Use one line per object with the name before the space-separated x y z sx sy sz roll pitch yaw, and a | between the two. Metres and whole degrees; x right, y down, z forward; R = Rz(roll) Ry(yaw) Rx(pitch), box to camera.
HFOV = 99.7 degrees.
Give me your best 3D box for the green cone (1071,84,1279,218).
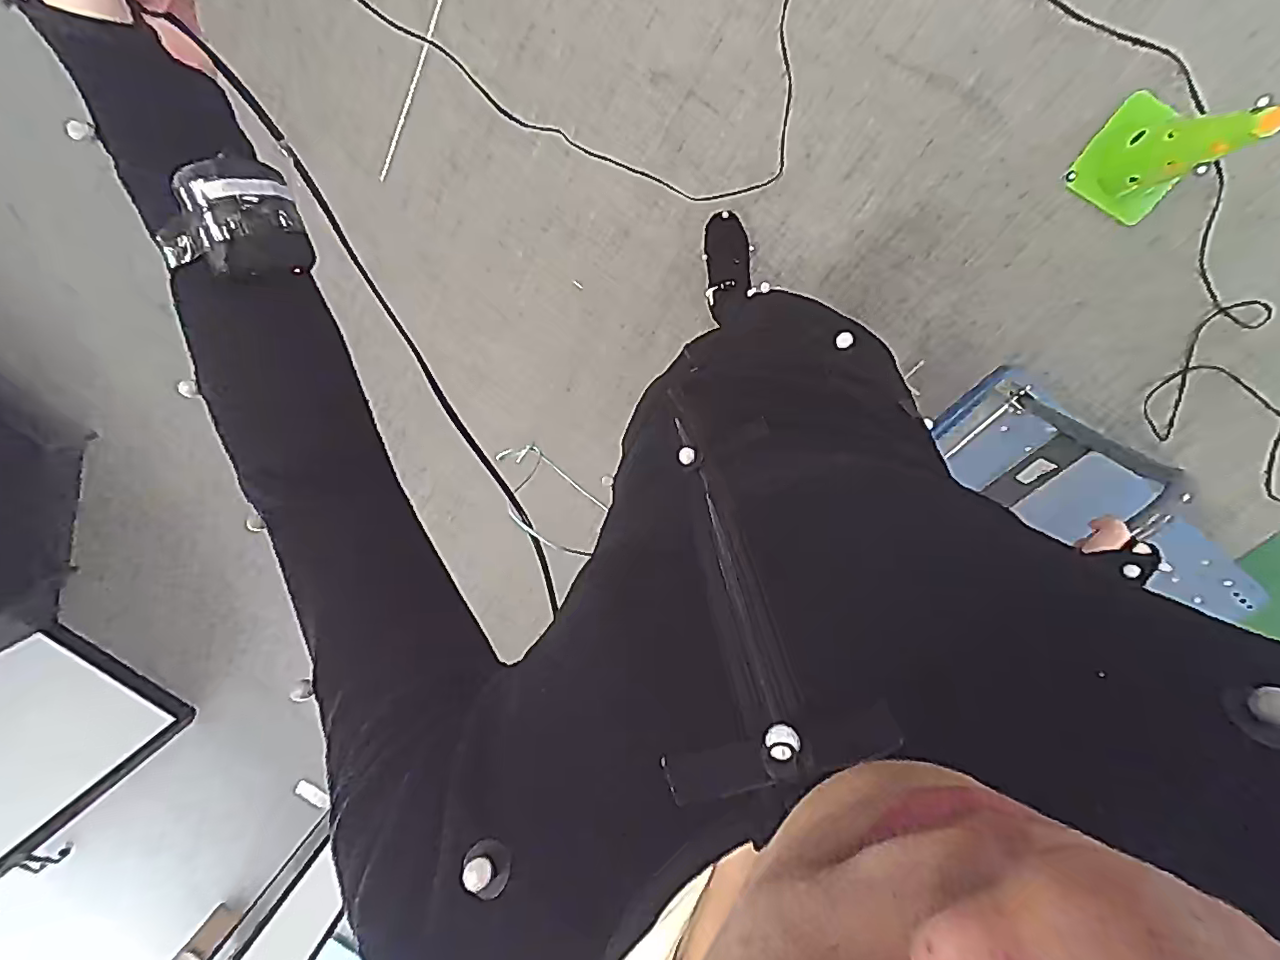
green cone | 1.033 -0.635 0.997 0.200 0.368 0.202 32 114 -1
